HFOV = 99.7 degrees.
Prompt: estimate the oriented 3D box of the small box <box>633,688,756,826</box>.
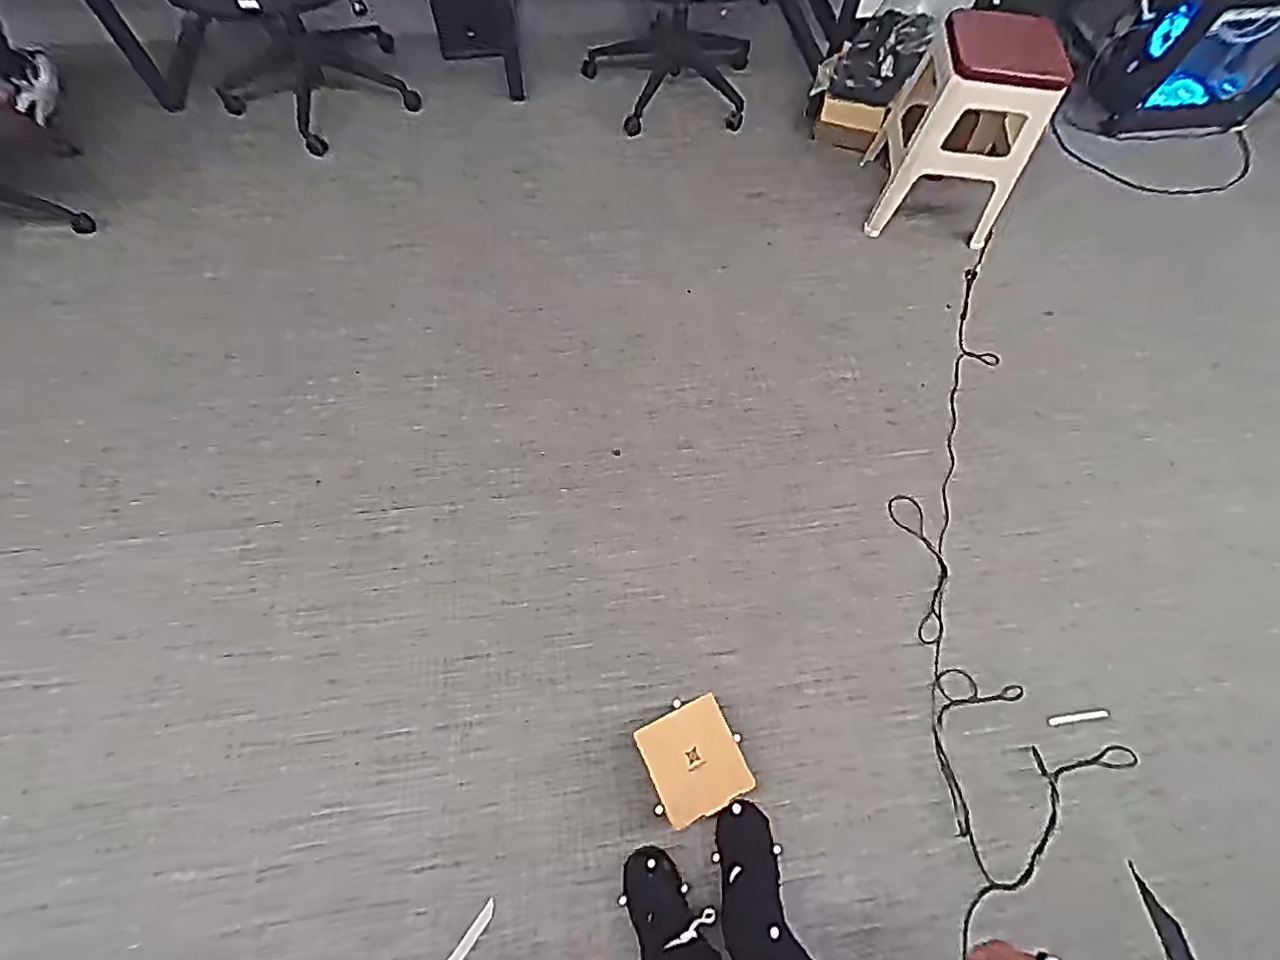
[{"bbox_3d":[0.092,0.525,1.040,0.168,0.176,0.179,-23,69,-13],"label":"small box"}]
